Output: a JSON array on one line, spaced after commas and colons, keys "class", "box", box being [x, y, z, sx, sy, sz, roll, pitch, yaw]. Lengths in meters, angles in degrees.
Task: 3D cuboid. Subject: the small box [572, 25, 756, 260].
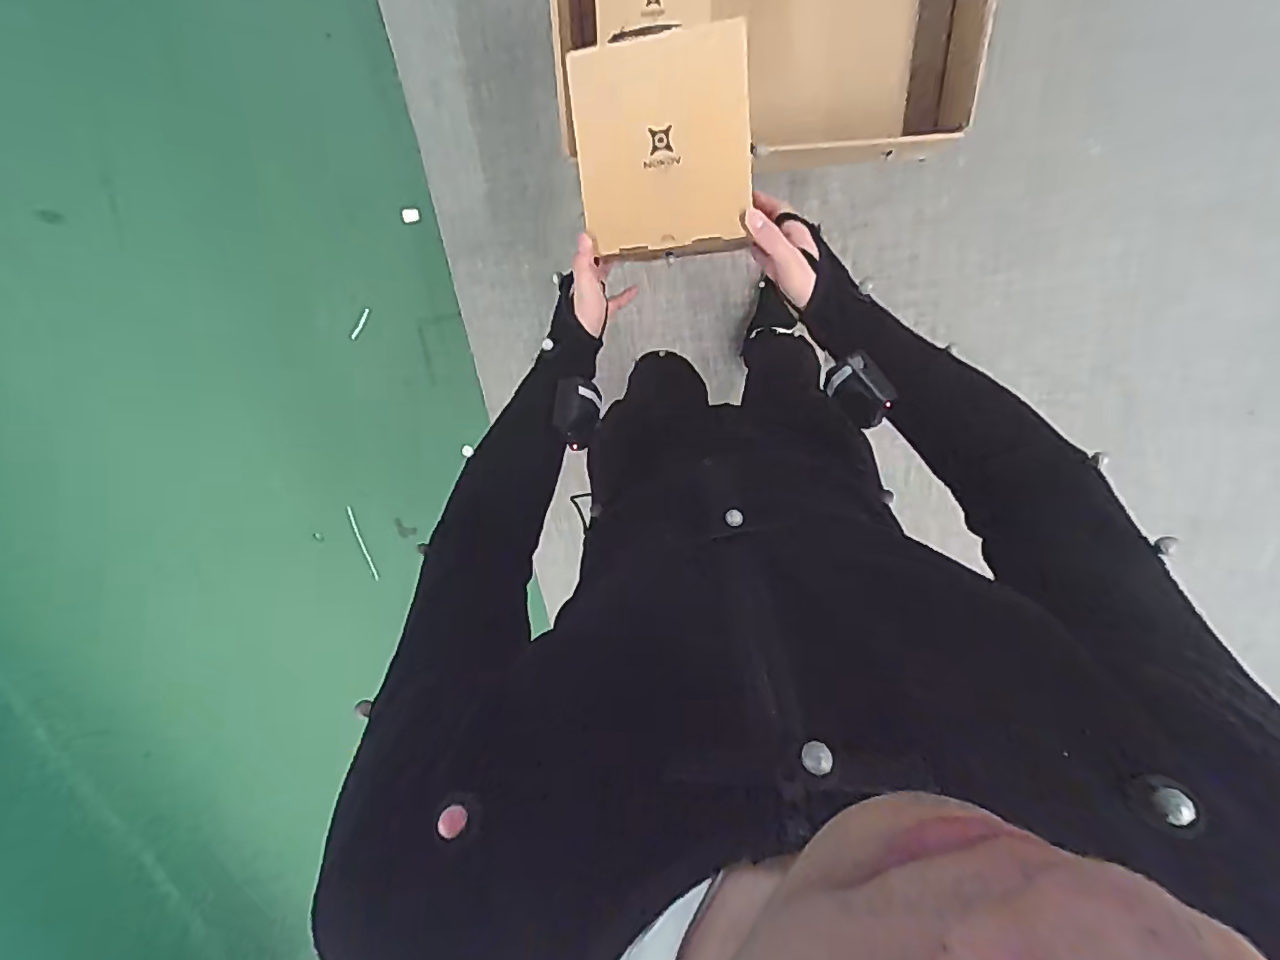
[{"class": "small box", "box": [0.036, -0.338, 0.581, 0.168, 0.176, 0.179, -2, 112, 10]}]
